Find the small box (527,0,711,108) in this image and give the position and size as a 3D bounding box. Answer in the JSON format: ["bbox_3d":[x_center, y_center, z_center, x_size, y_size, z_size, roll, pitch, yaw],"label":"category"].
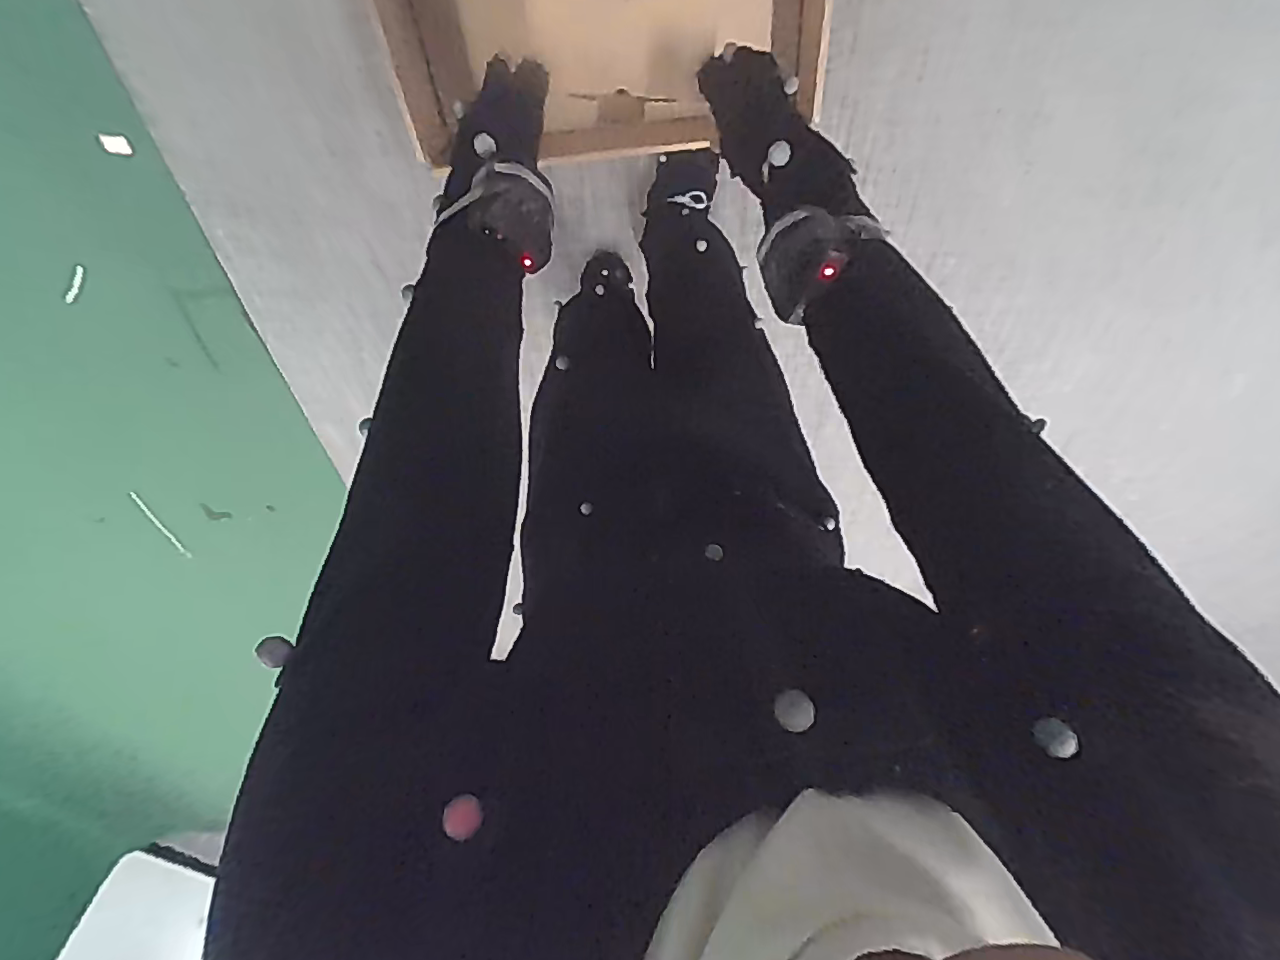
[{"bbox_3d":[-0.015,-0.481,0.524,0.168,0.176,0.179,1,133,1],"label":"small box"}]
